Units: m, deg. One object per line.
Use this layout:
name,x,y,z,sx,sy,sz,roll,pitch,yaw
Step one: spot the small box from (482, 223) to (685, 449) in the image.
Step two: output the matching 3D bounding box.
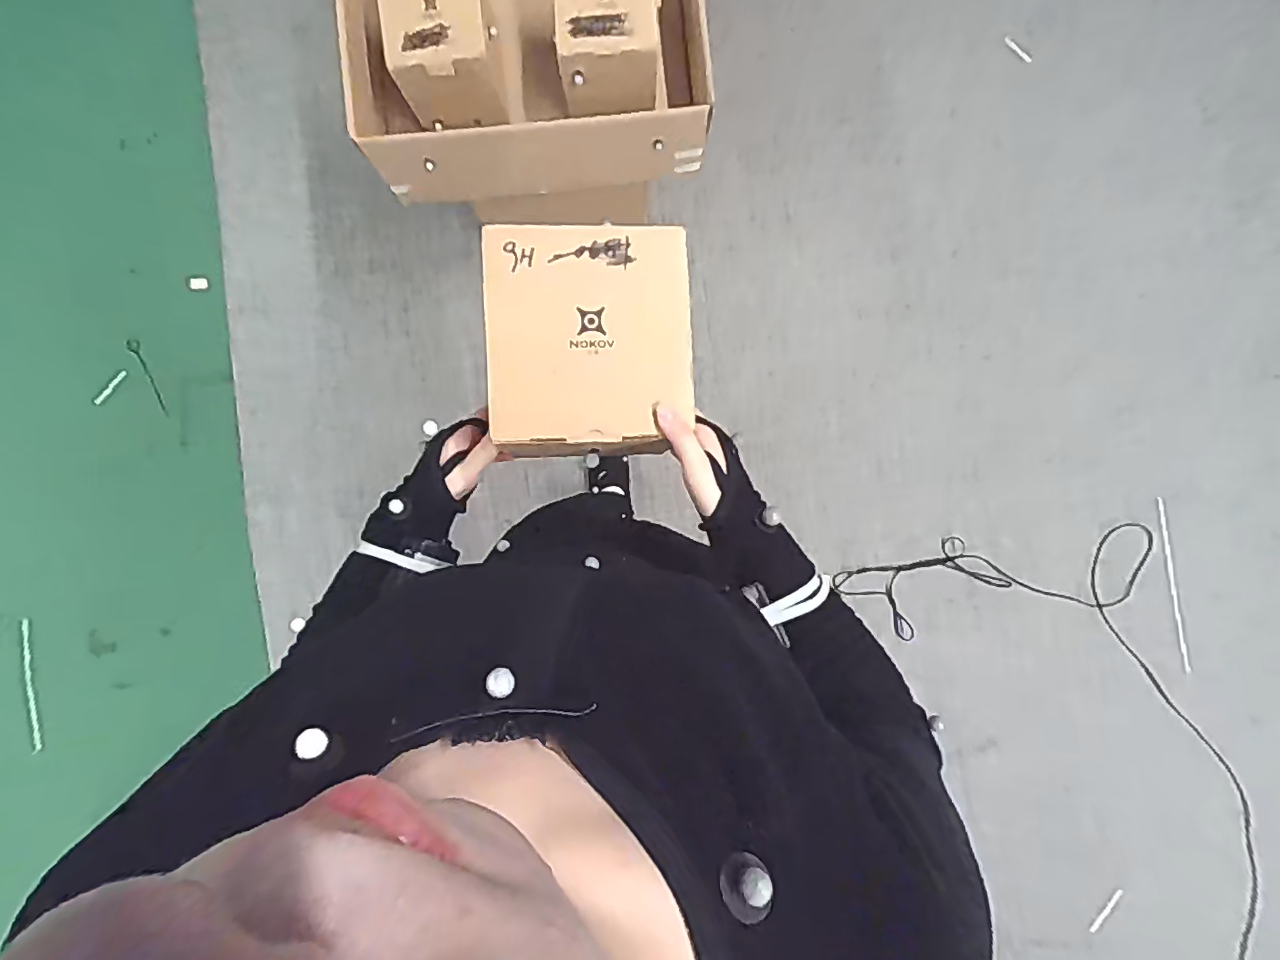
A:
small box,-0.052,-0.120,0.519,0.168,0.176,0.179,-2,89,-6

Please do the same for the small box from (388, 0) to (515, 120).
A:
small box,-0.327,-0.775,0.959,0.168,0.176,0.179,-6,89,0
